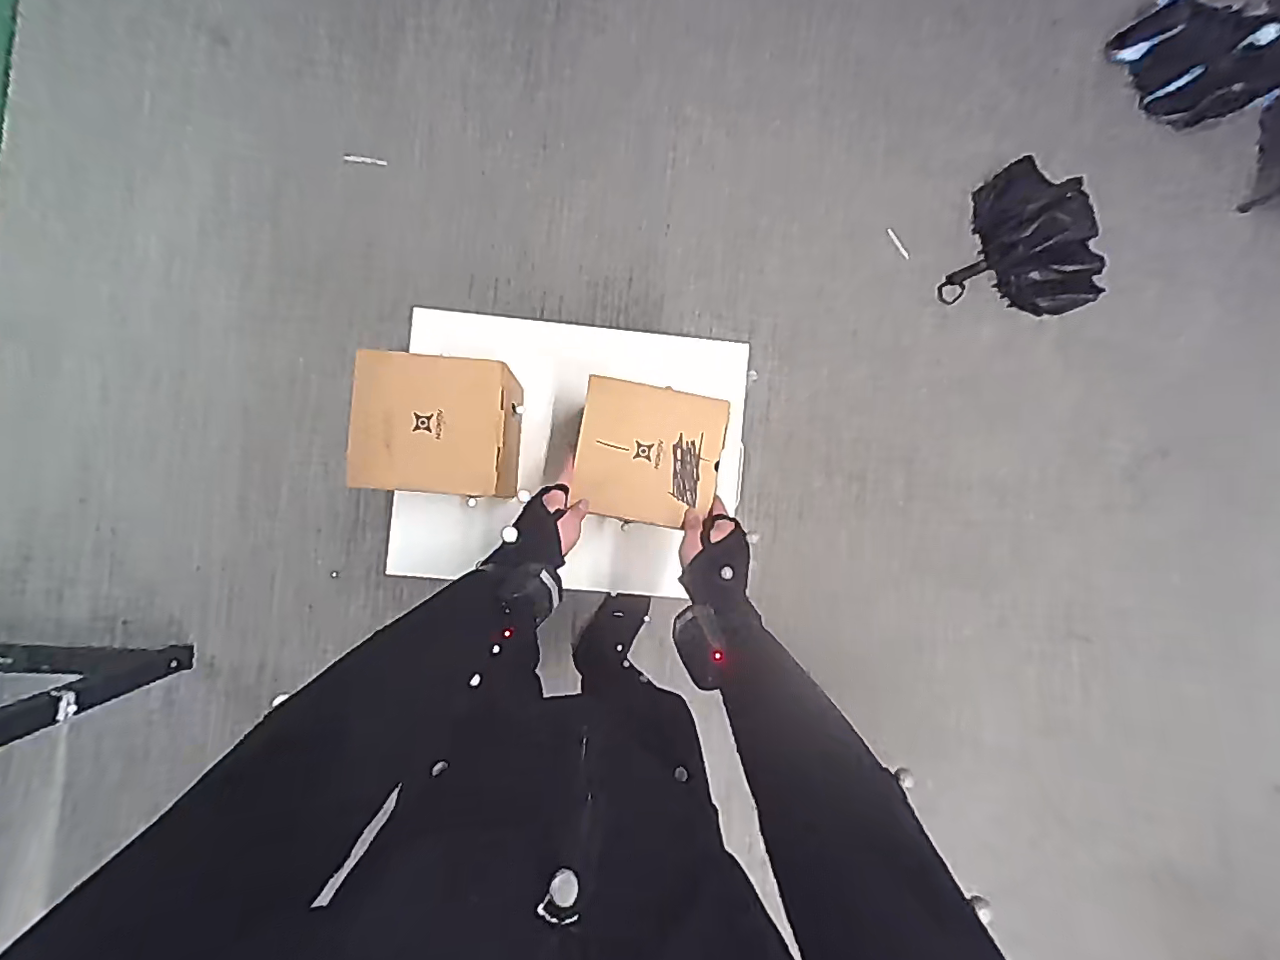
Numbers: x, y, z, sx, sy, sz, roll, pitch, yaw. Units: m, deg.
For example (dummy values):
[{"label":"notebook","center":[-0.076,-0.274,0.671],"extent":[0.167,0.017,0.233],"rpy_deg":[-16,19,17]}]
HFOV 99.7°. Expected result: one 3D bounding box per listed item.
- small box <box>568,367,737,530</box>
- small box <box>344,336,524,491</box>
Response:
[{"label":"small box","center":[0.009,-0.033,0.713],"extent":[0.179,0.176,0.168],"rpy_deg":[12,85,-5]},{"label":"small box","center":[-0.251,-0.074,0.704],"extent":[0.179,0.176,0.168],"rpy_deg":[5,86,-5]}]
